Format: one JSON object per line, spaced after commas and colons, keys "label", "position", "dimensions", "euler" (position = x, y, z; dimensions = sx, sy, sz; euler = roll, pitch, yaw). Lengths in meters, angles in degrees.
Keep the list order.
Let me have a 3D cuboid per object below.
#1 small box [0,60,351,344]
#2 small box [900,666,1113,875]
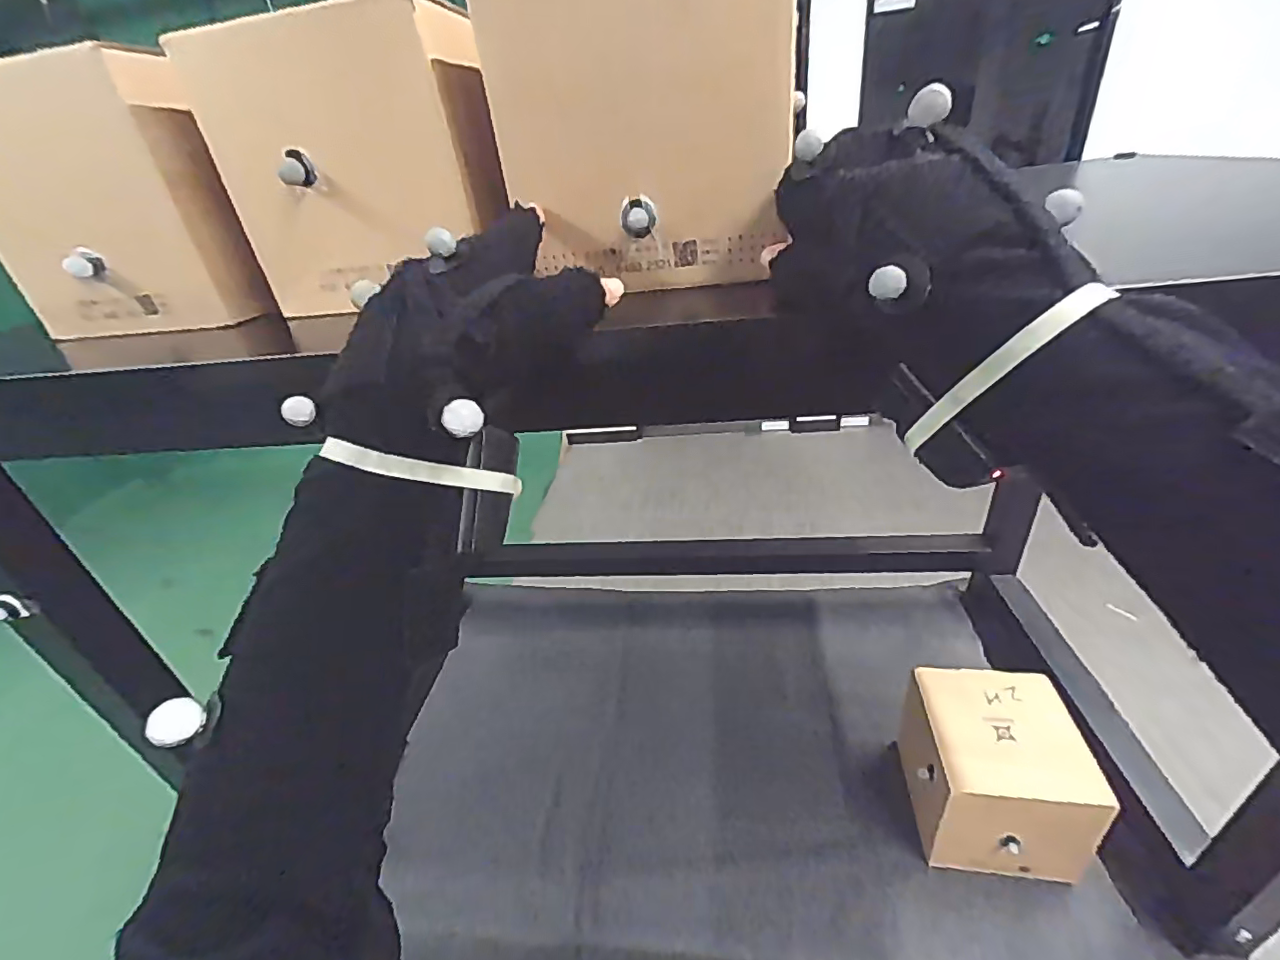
{"label": "small box", "position": [-0.372, -0.220, 0.444], "dimensions": [0.168, 0.176, 0.179], "euler": [-1, 32, 10]}
{"label": "small box", "position": [0.449, 0.371, 0.699], "dimensions": [0.168, 0.176, 0.179], "euler": [0, 31, 12]}
